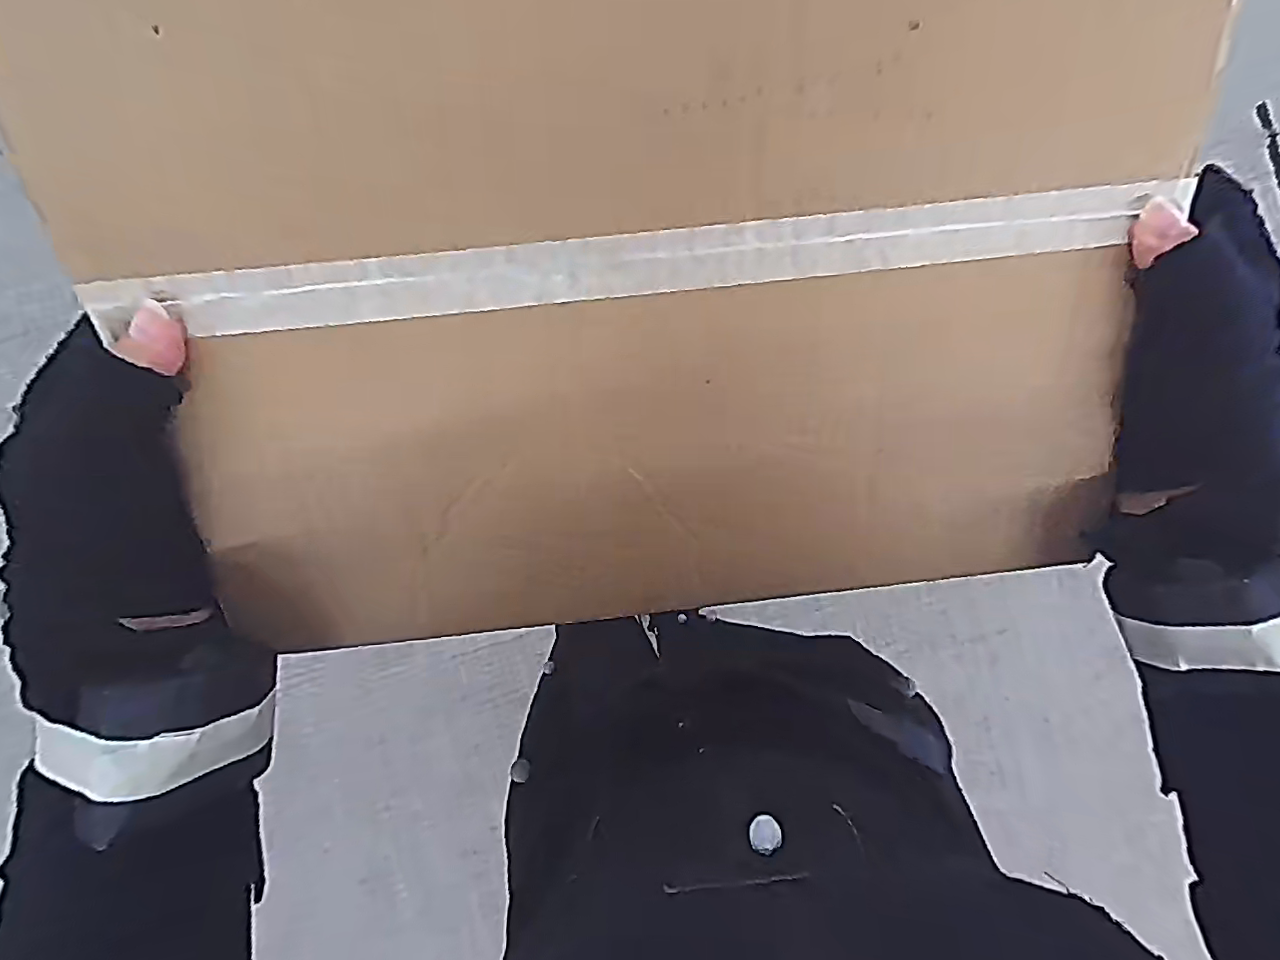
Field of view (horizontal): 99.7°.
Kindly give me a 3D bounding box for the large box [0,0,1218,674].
[{"bbox_3d":[-0.002,-0.126,0.349,0.408,0.320,0.320,-7,112,-2],"label":"large box"}]
